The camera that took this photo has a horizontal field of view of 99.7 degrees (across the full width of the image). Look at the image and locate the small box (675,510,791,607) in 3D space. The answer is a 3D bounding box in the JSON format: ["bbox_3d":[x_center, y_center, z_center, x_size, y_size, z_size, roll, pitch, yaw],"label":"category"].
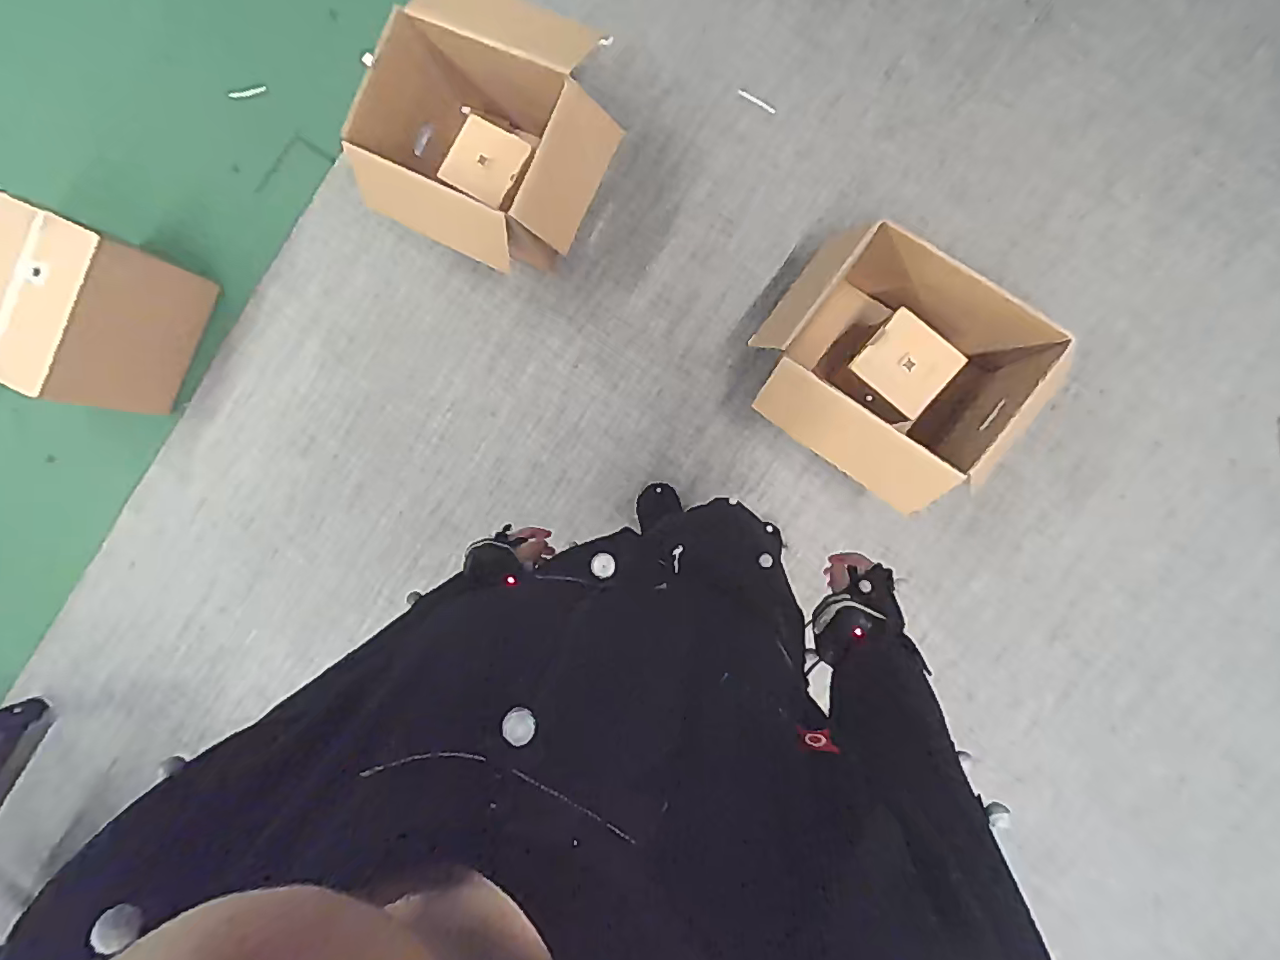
[{"bbox_3d":[0.206,0.179,1.220,0.176,0.168,0.179,-26,75,37],"label":"small box"}]
